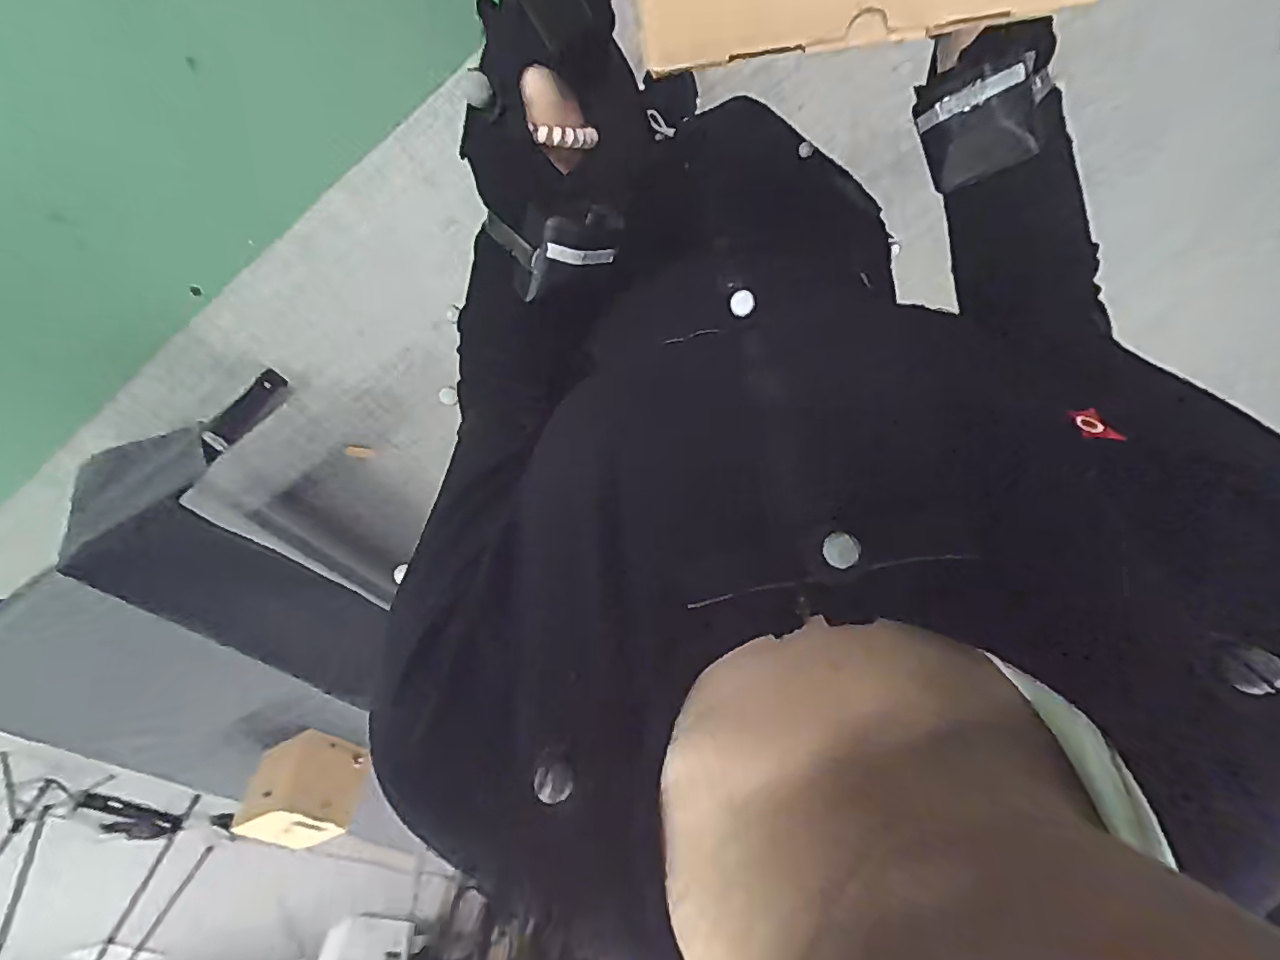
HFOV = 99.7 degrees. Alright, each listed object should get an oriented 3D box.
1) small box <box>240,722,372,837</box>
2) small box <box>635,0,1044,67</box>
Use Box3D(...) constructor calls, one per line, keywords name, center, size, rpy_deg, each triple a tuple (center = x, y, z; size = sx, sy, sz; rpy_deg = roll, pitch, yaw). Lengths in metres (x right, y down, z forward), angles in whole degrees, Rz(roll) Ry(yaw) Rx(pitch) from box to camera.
Box3D(name="small box", center=(-0.740, 0.676, 1.225), size=(0.179, 0.176, 0.168), rpy_deg=(-29, 125, 19))
Box3D(name="small box", center=(0.068, -0.288, 0.189), size=(0.168, 0.176, 0.179), rpy_deg=(-5, 143, 6))
